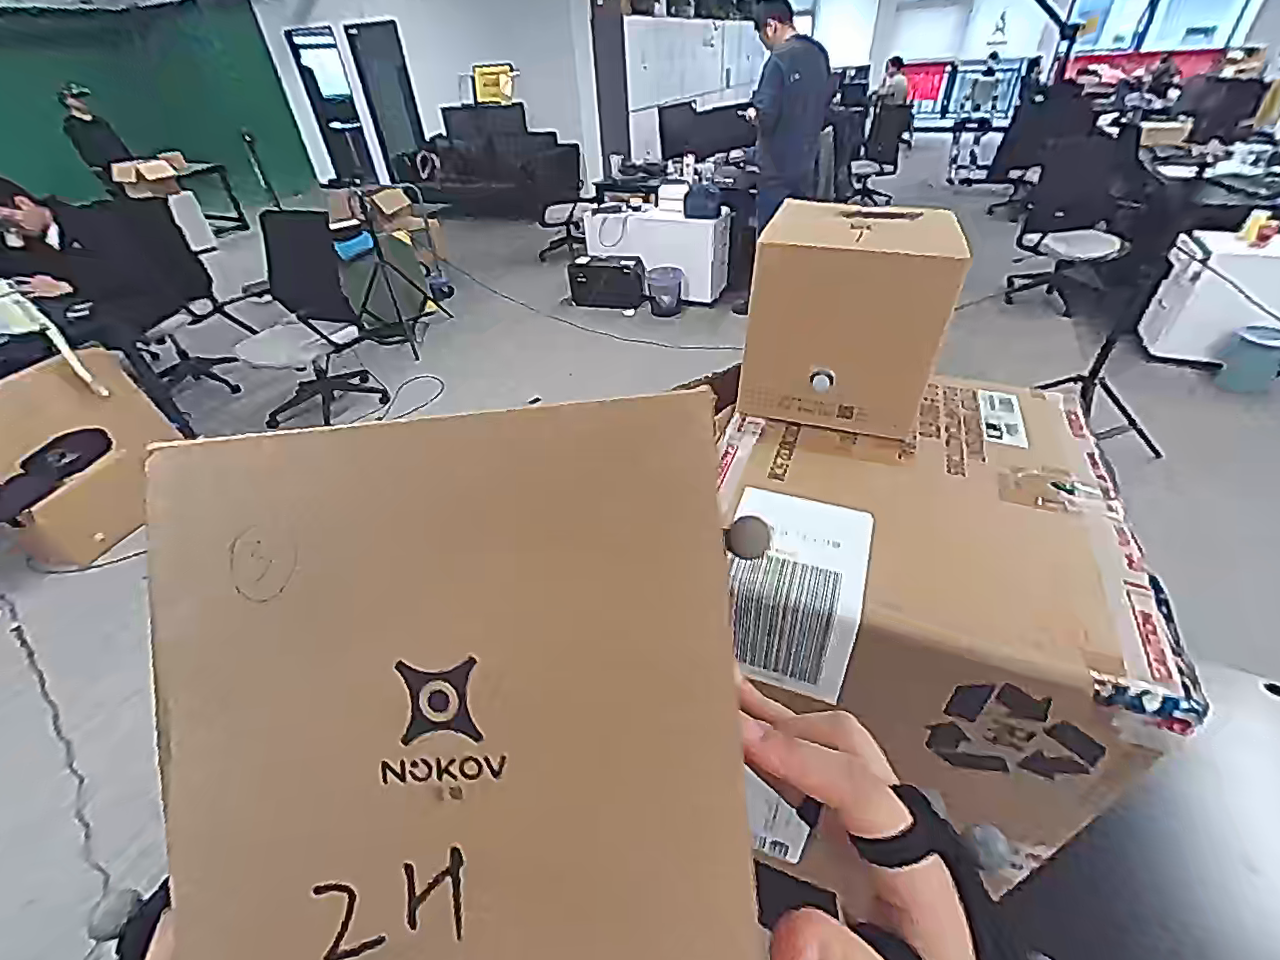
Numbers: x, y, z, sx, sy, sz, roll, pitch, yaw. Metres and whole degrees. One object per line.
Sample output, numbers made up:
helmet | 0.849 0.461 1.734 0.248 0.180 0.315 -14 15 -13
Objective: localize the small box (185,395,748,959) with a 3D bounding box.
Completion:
small box | -0.049 0.070 0.241 0.168 0.179 0.176 -5 -2 5

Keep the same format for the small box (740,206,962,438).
small box | 0.203 -0.167 0.552 0.168 0.176 0.179 12 39 16
